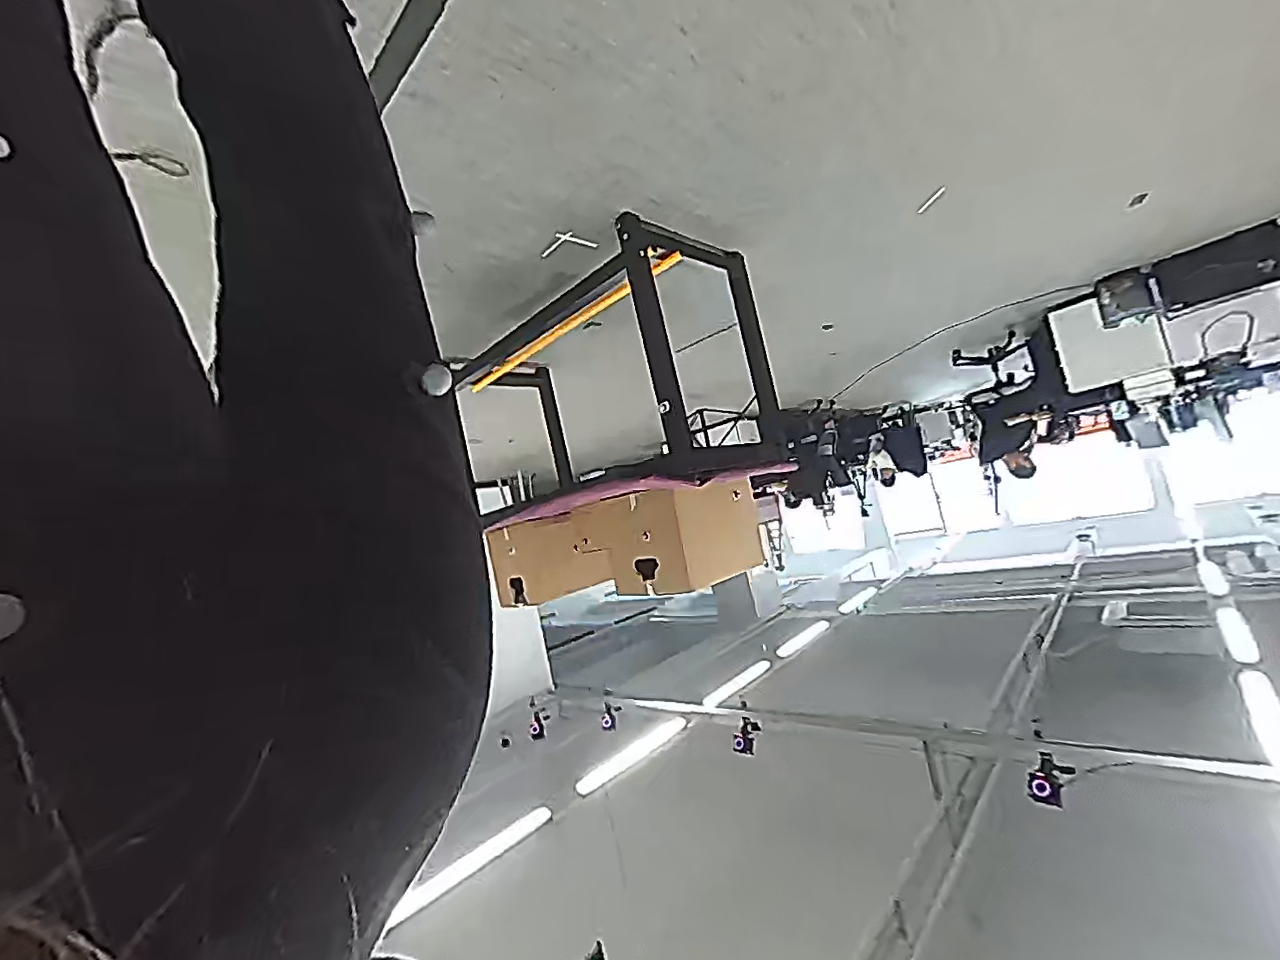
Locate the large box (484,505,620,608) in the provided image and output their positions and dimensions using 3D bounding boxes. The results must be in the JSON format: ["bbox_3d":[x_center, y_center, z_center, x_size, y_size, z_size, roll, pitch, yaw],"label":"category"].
[{"bbox_3d":[-0.357,0.305,2.200,0.320,0.320,0.408,-16,176,43],"label":"large box"}]
